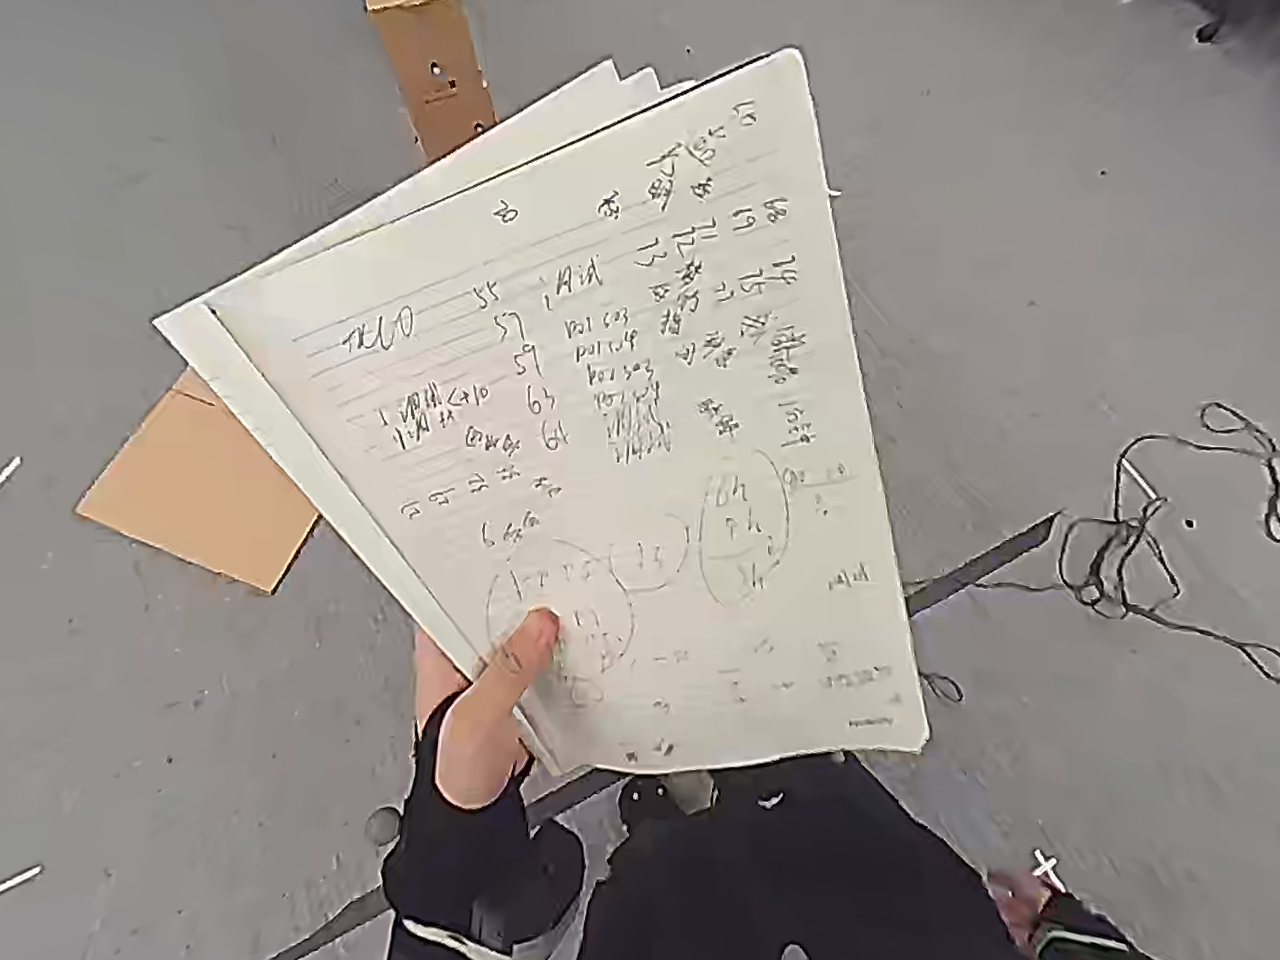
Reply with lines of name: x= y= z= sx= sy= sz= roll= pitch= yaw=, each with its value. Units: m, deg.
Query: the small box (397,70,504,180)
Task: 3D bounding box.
small box: x=-0.419 y=-0.818 z=1.213 sx=0.179 sy=0.176 sz=0.168 roll=-23 pitch=70 yaw=-8

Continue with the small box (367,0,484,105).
small box: x=-0.426 y=-0.887 z=1.063 sx=0.168 sy=0.176 sz=0.179 roll=-21 pitch=70 yaw=-8
